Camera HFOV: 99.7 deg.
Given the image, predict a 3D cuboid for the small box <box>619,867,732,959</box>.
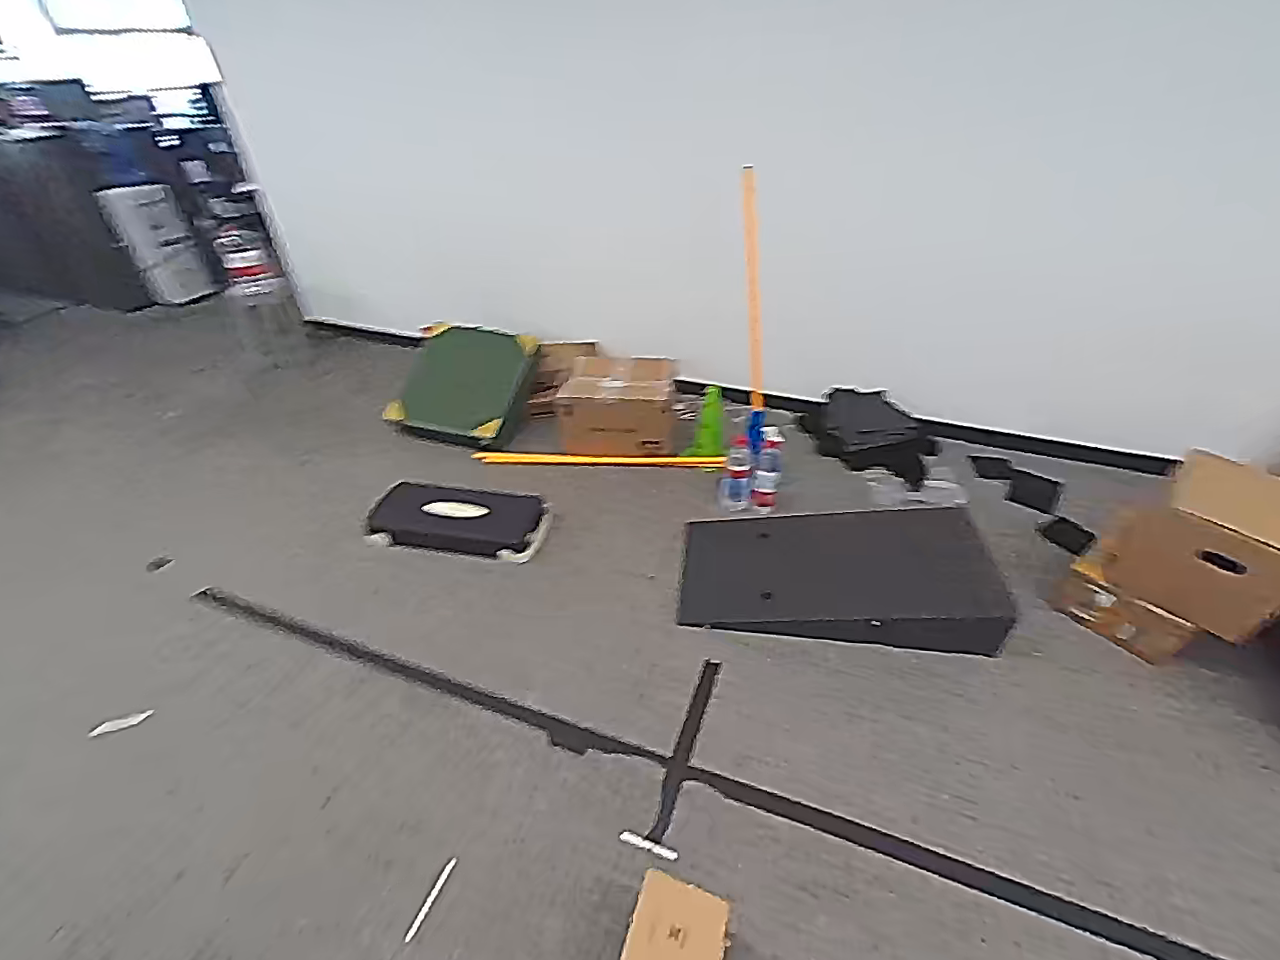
[{"bbox_3d":[0.069,0.911,1.063,0.179,0.176,0.168,13,40,17],"label":"small box"}]
